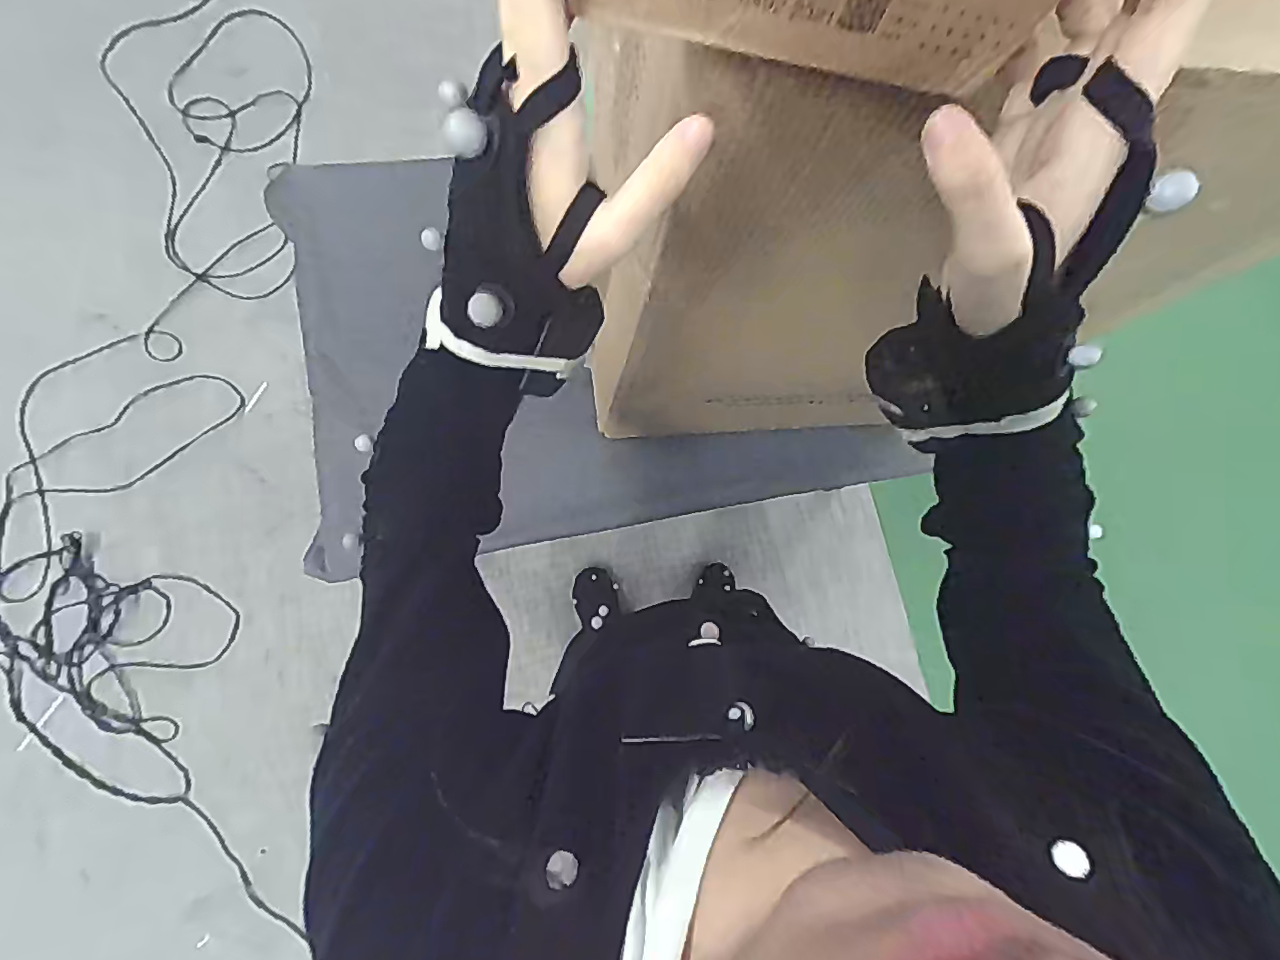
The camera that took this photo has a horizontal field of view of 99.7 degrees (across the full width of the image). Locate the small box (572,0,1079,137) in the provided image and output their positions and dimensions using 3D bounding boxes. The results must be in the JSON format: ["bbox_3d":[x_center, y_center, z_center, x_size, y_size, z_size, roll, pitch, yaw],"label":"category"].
[{"bbox_3d":[0.070,-0.244,0.147,0.168,0.176,0.179,6,84,-7],"label":"small box"}]
